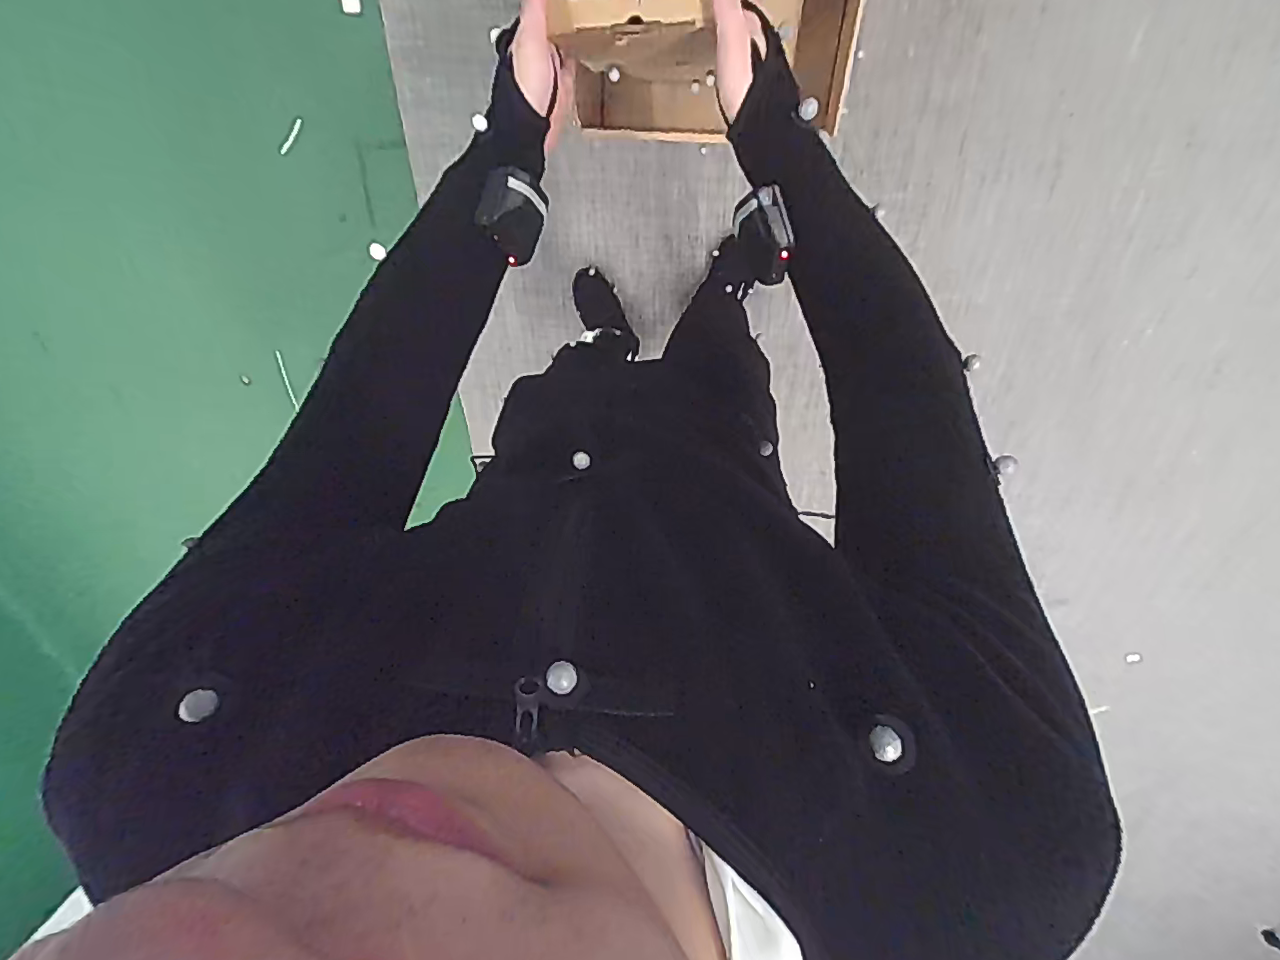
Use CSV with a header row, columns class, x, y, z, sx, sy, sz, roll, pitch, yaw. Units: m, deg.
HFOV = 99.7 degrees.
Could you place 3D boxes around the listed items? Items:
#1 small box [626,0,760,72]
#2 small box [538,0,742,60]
class,x,y,z,sx,sy,sz,roll,pitch,yaw
small box,0.056,-0.583,0.618,0.168,0.176,0.179,8,123,8
small box,0.009,-0.494,0.479,0.168,0.176,0.179,4,118,9
